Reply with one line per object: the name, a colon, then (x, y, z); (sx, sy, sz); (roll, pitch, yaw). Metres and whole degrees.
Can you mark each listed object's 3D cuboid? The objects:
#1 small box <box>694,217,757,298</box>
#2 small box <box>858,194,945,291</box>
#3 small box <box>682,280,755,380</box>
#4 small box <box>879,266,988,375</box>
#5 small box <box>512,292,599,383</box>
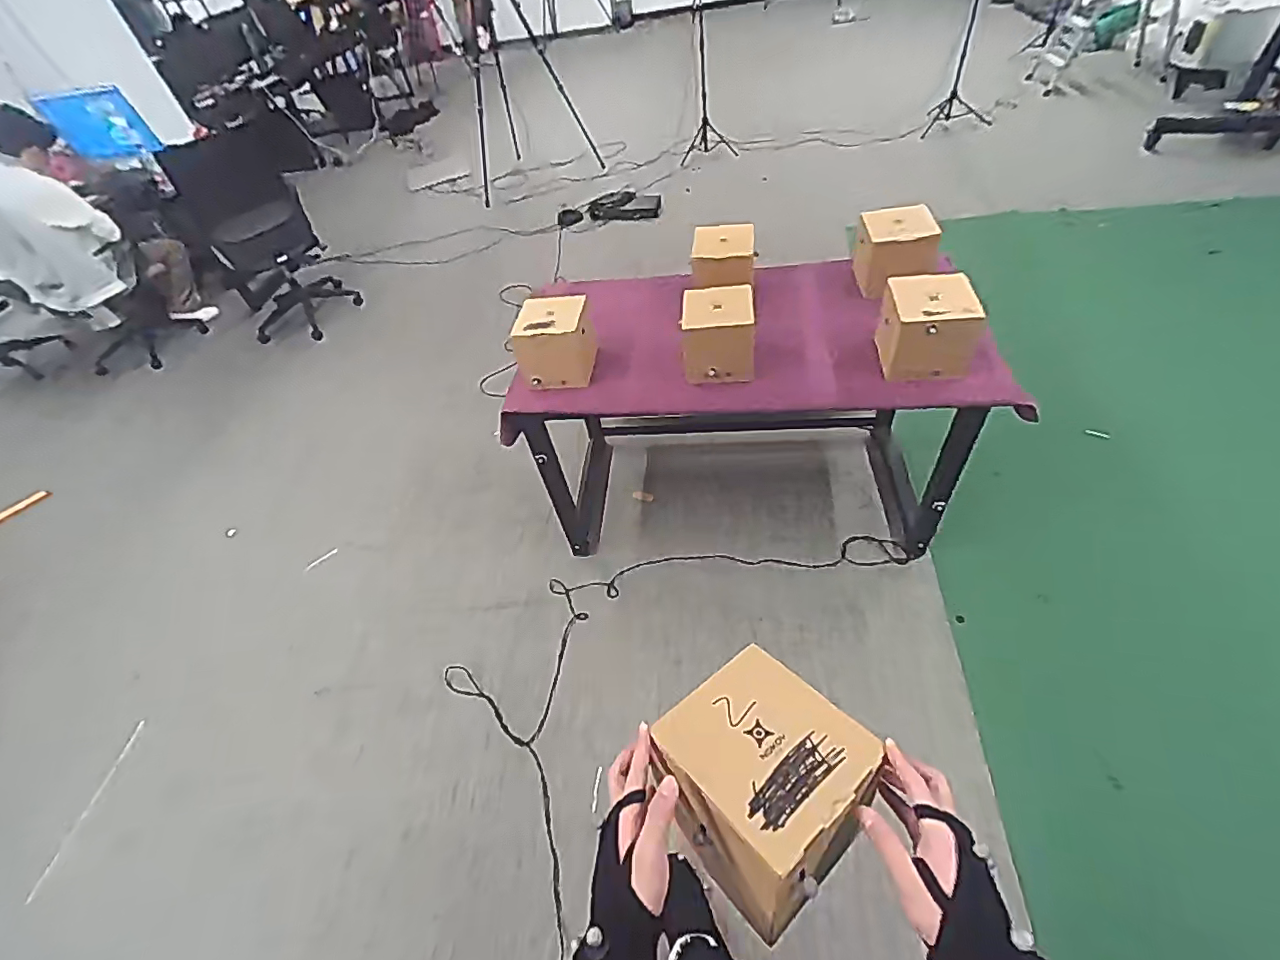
small box: (0.245, -0.620, 1.539); (0.168, 0.176, 0.179); (1, 53, 11)
small box: (0.693, -0.635, 1.453); (0.168, 0.176, 0.179); (-4, 51, 12)
small box: (0.198, -0.368, 1.336); (0.168, 0.176, 0.179); (-2, 49, 11)
small box: (0.655, -0.360, 1.231); (0.168, 0.176, 0.179); (-1, 51, 12)
small box: (-0.211, -0.366, 1.414); (0.168, 0.176, 0.179); (-1, 49, 10)
